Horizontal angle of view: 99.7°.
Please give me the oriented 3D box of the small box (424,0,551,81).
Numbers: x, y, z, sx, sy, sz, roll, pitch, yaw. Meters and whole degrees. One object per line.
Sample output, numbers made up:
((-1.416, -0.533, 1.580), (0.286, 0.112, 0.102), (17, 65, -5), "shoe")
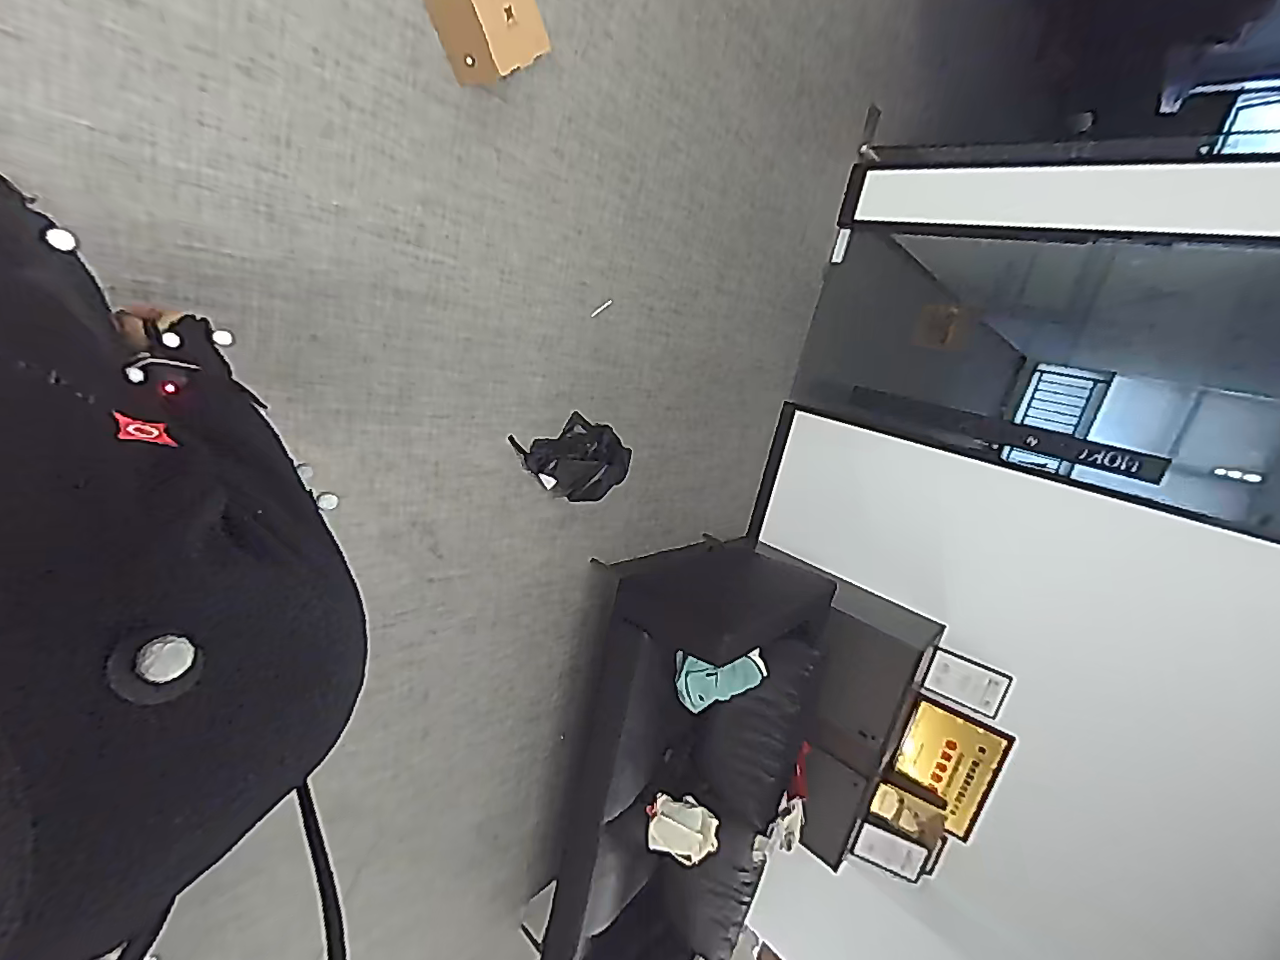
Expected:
((-0.334, -1.006, 1.185), (0.168, 0.176, 0.179), (-48, 139, -23), "small box")
